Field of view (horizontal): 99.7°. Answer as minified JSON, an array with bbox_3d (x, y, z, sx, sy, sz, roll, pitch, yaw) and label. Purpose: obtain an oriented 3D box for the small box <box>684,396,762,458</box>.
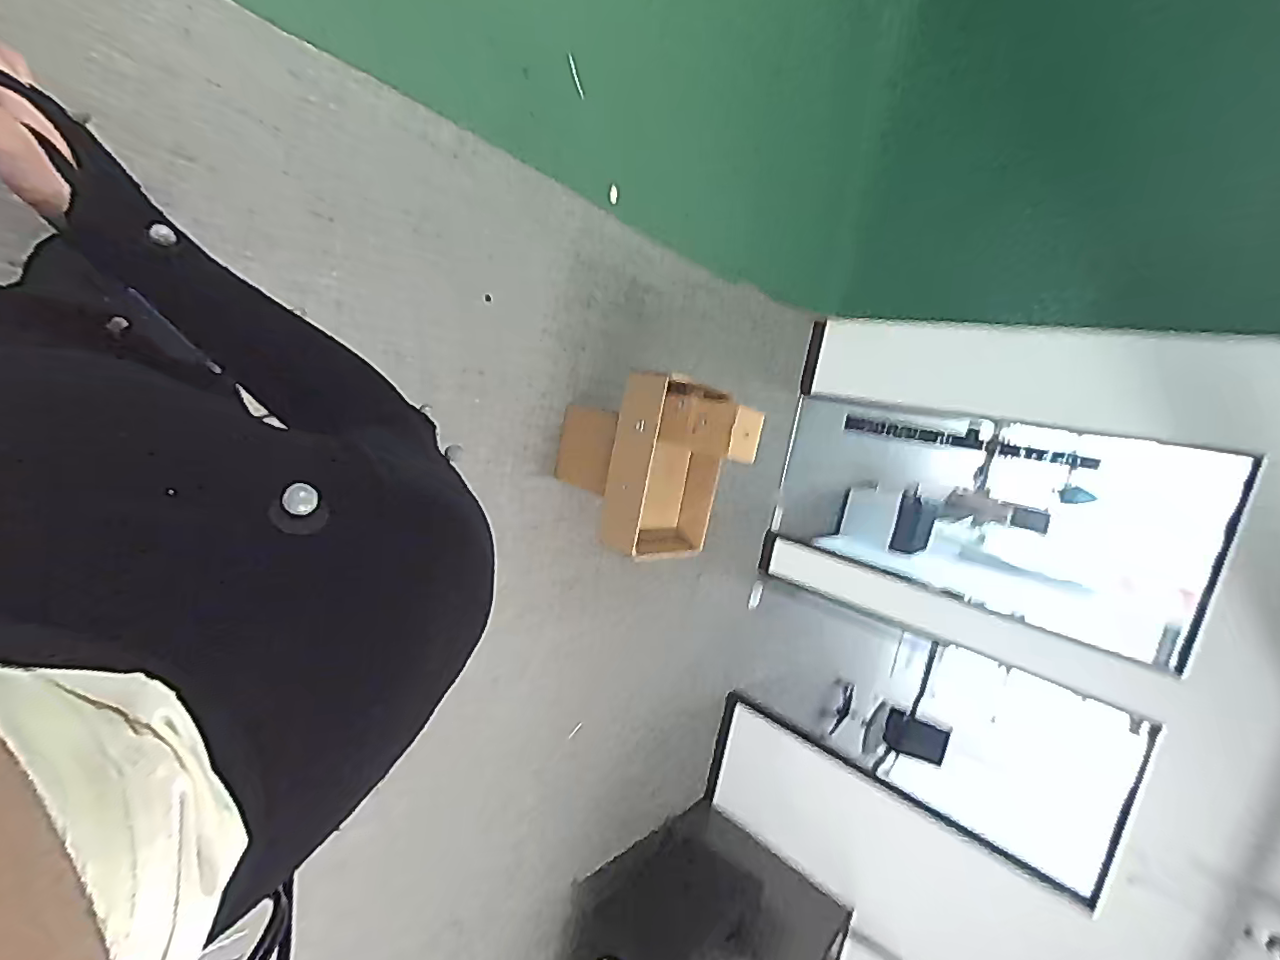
[{"bbox_3d":[0.270,-0.175,1.770,0.179,0.176,0.168,5,99,-50],"label":"small box"}]
